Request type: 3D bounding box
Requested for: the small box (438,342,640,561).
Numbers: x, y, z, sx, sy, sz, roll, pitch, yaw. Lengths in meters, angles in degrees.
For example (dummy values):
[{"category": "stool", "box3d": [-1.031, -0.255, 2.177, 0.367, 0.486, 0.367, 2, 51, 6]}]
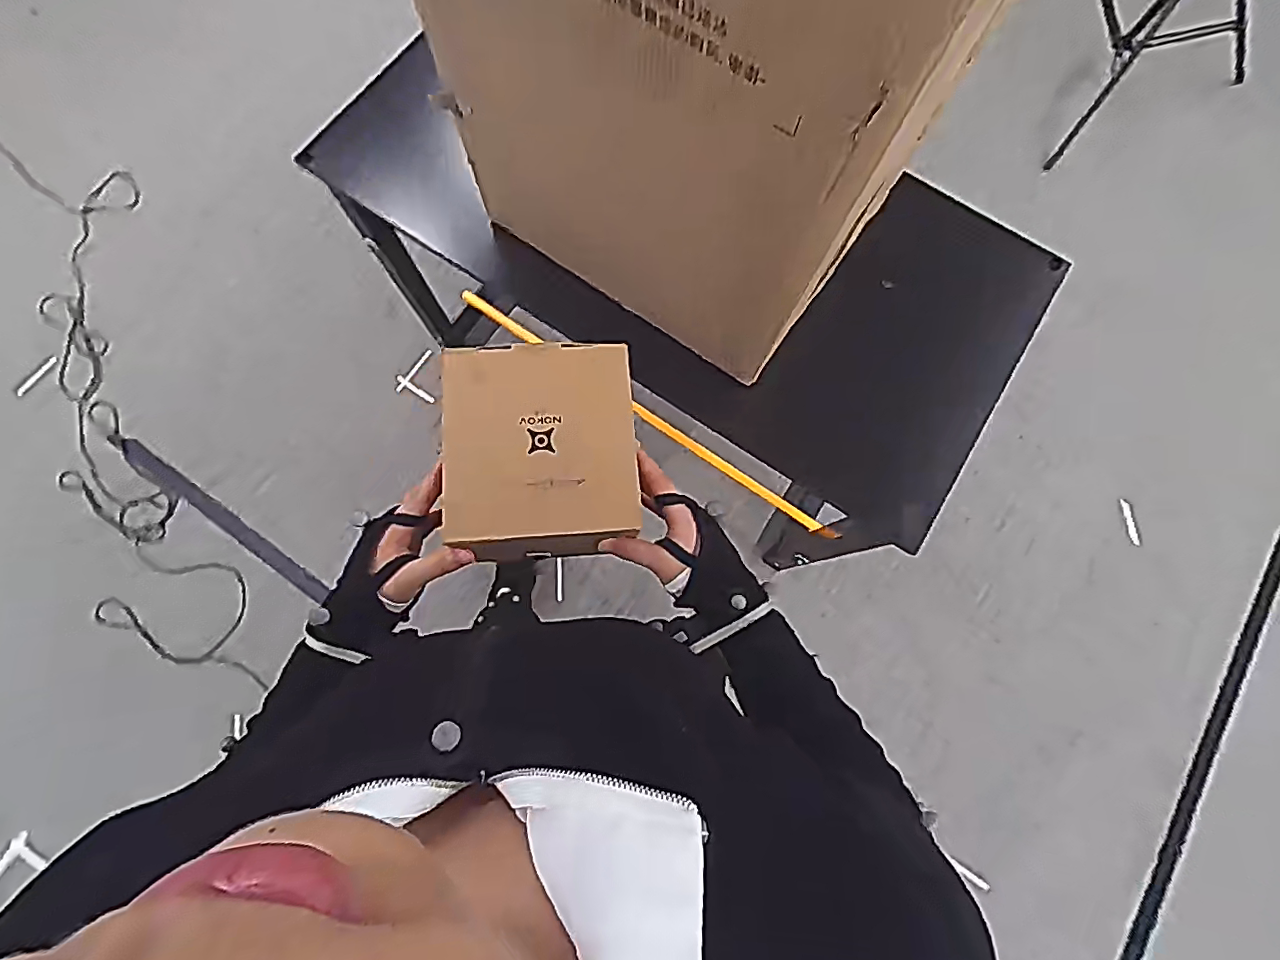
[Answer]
[{"category": "small box", "box3d": [-0.096, -0.019, 0.539, 0.168, 0.176, 0.179, -2, 76, -8]}]
